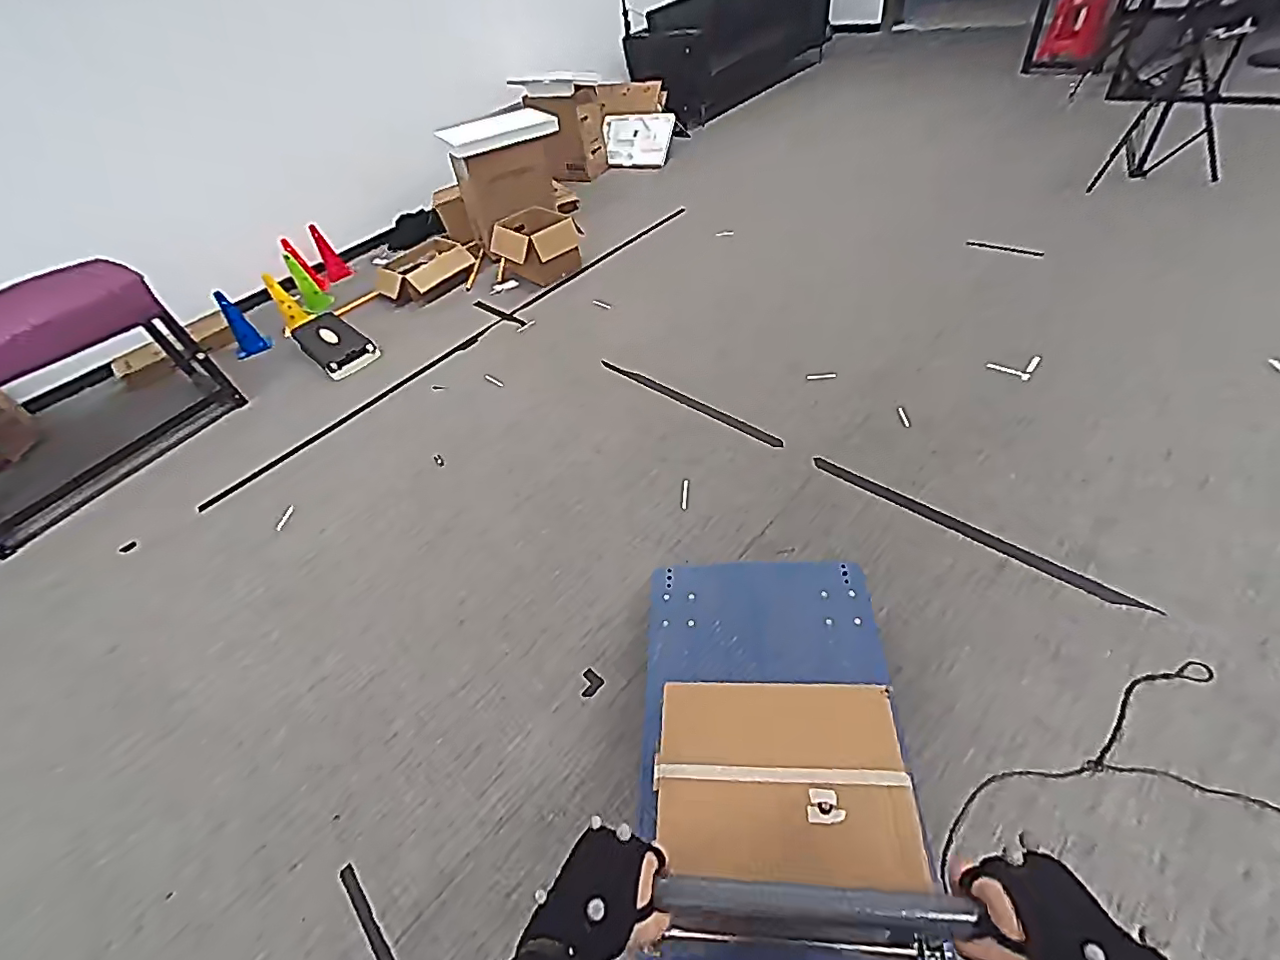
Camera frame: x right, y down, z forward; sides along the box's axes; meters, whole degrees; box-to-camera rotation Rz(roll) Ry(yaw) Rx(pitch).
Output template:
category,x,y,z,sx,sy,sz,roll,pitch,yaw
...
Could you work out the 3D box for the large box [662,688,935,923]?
category,x,y,z,sx,sy,sz,roll,pitch,yaw
large box,0.257,0.602,1.005,0.408,0.320,0.320,-3,47,9
